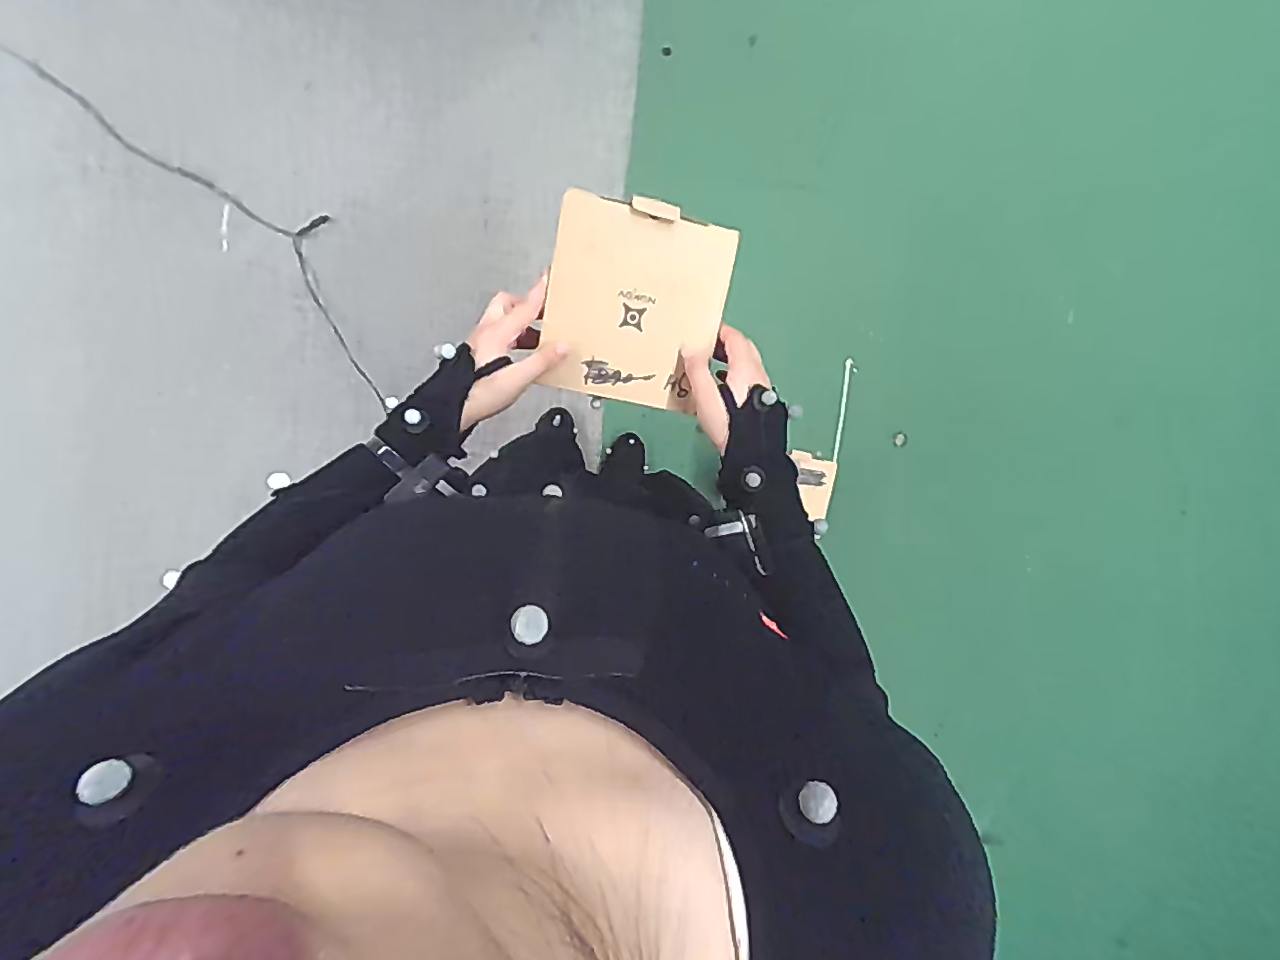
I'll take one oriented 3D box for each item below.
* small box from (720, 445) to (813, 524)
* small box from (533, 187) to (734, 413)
[{"bbox_3d":[0.322,0.005,1.420,0.179,0.176,0.168,13,96,-5],"label":"small box"},{"bbox_3d":[-0.017,-0.180,0.580,0.168,0.176,0.179,9,103,-9],"label":"small box"}]
